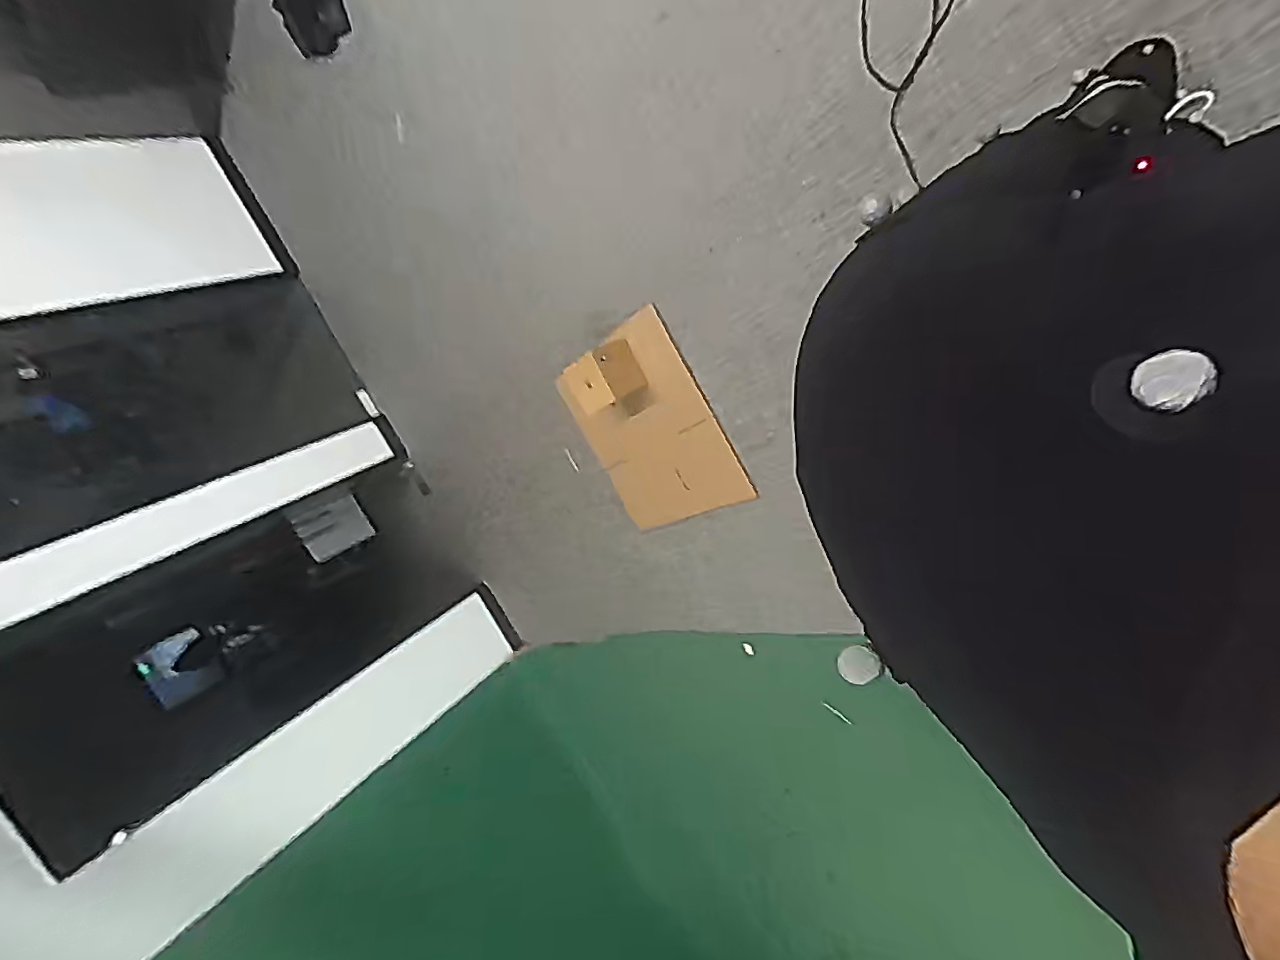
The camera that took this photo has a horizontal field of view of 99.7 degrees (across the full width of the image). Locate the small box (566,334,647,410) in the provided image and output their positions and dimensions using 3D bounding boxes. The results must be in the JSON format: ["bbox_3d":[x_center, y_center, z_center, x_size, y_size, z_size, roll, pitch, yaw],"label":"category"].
[{"bbox_3d":[-0.106,-0.361,1.795,0.168,0.176,0.179,-20,100,49],"label":"small box"}]
